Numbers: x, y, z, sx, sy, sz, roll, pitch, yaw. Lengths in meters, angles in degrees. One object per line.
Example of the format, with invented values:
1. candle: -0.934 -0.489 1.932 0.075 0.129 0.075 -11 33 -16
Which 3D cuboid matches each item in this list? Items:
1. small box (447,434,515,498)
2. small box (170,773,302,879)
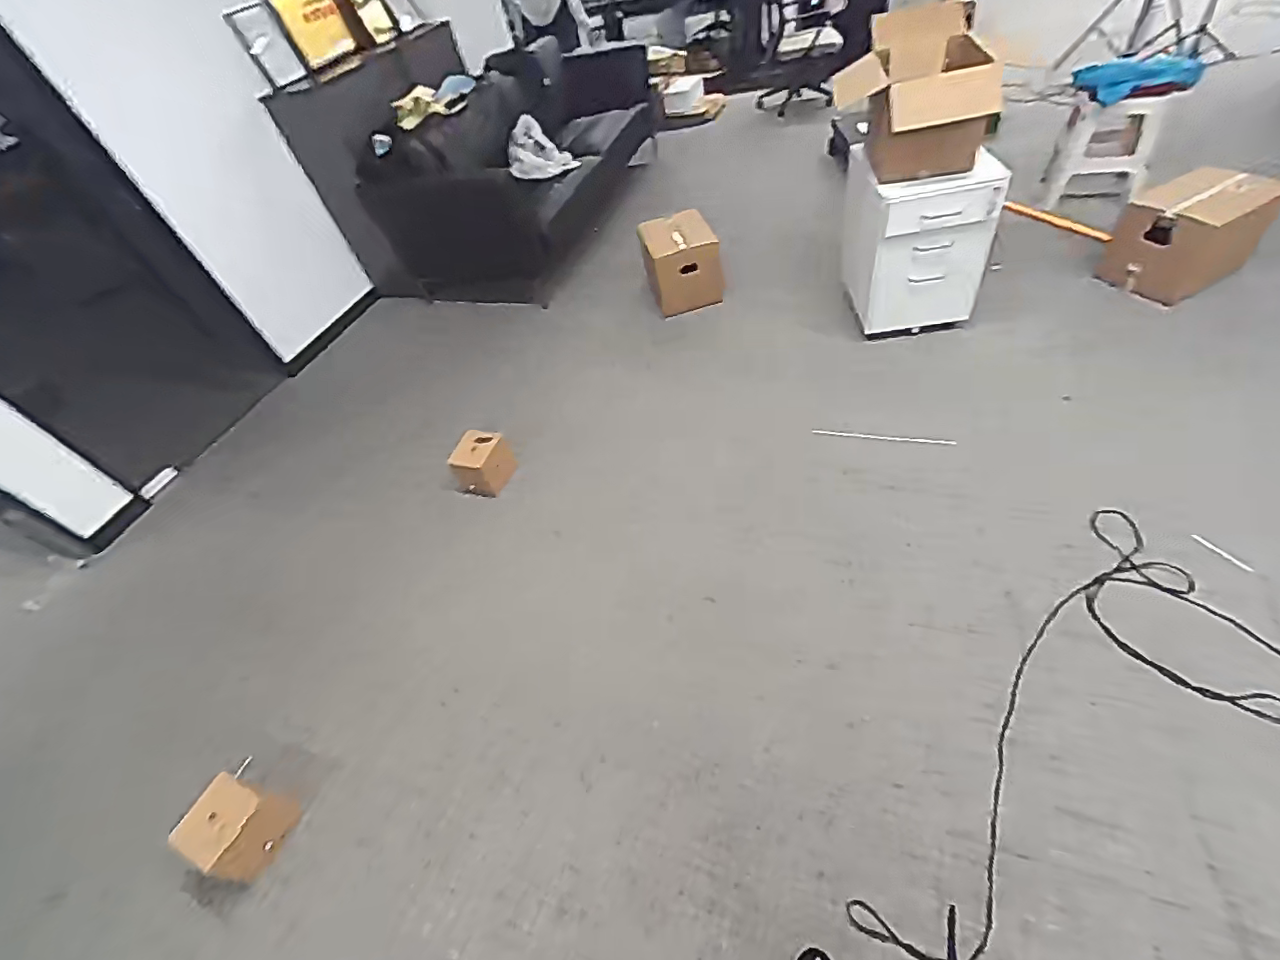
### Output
1. small box: -0.616 -0.056 2.129 0.168 0.176 0.179 9 53 22
2. small box: -1.024 0.889 1.384 0.179 0.176 0.168 13 54 24
